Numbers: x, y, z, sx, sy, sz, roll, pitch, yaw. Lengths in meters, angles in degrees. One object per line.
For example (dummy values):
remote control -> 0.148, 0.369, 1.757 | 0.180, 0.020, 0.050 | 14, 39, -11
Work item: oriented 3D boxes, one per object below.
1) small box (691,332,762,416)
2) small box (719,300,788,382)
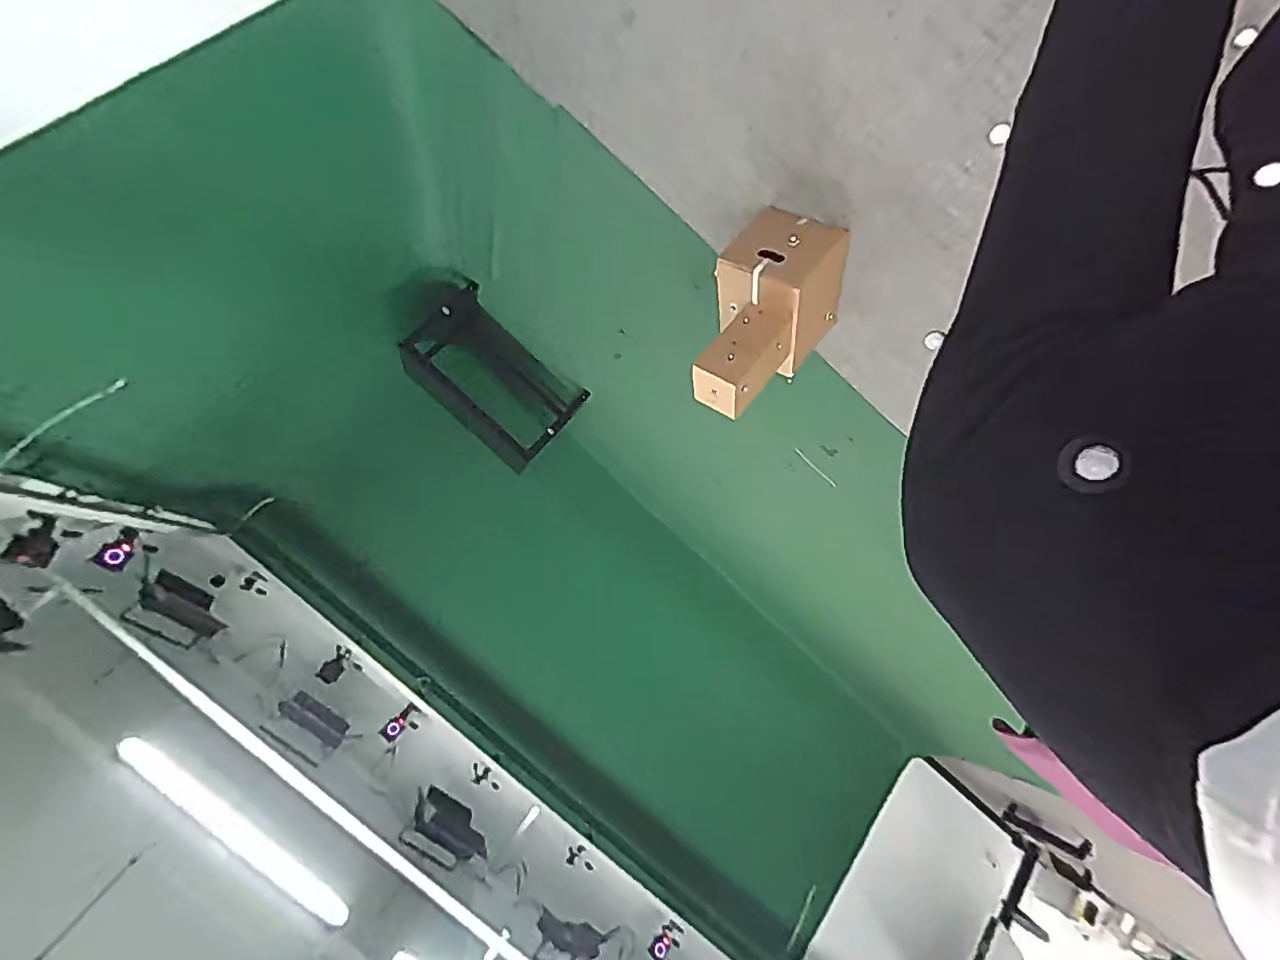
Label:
small box -> 0.282, -0.350, 1.758 | 0.168, 0.176, 0.179 | 33, 161, 24
small box -> 0.382, -0.470, 1.810 | 0.168, 0.176, 0.179 | 31, 160, 26
